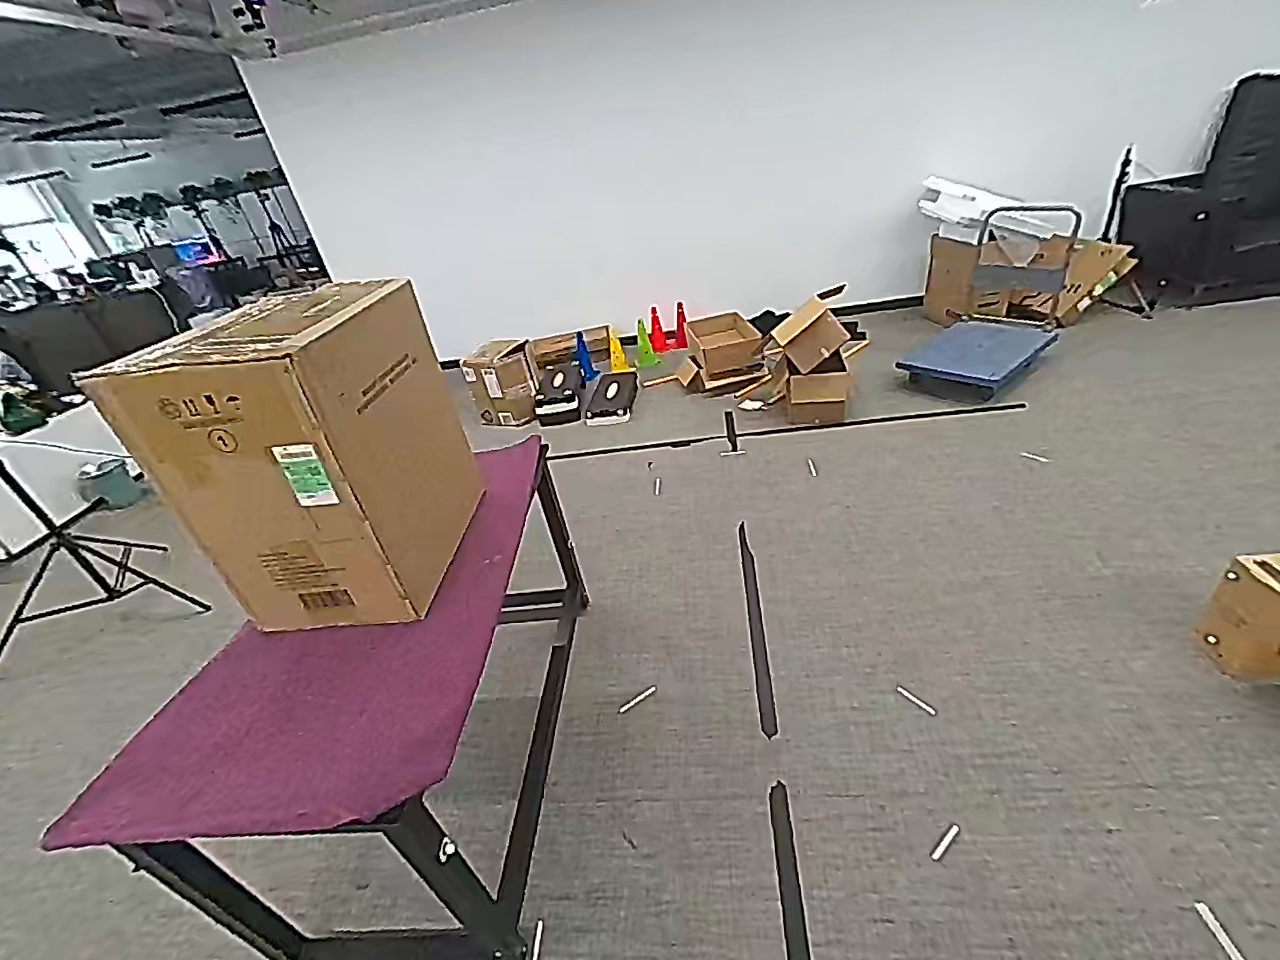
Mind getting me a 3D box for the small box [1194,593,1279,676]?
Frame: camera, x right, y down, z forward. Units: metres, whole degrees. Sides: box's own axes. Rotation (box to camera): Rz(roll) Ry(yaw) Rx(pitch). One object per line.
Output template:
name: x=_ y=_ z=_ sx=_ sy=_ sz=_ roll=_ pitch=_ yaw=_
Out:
small box: x=1.779 y=0.447 z=1.561 sx=0.179 sy=0.176 sz=0.168 roll=-5 pitch=32 yaw=10
